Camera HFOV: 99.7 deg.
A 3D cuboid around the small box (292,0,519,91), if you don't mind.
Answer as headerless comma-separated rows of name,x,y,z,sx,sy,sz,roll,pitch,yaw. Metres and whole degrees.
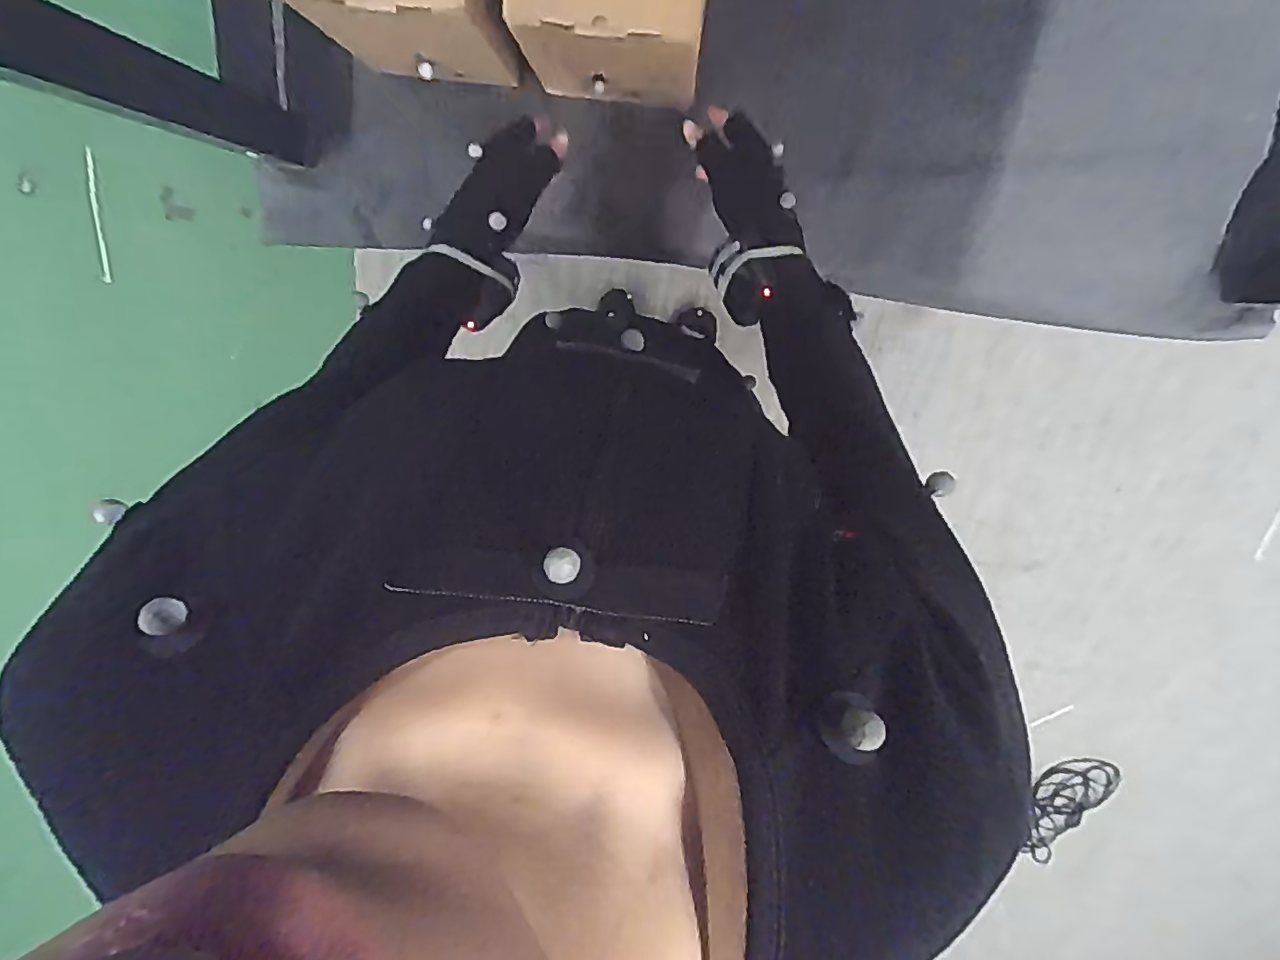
small box,-0.212,-0.498,0.497,0.168,0.176,0.179,7,108,1
